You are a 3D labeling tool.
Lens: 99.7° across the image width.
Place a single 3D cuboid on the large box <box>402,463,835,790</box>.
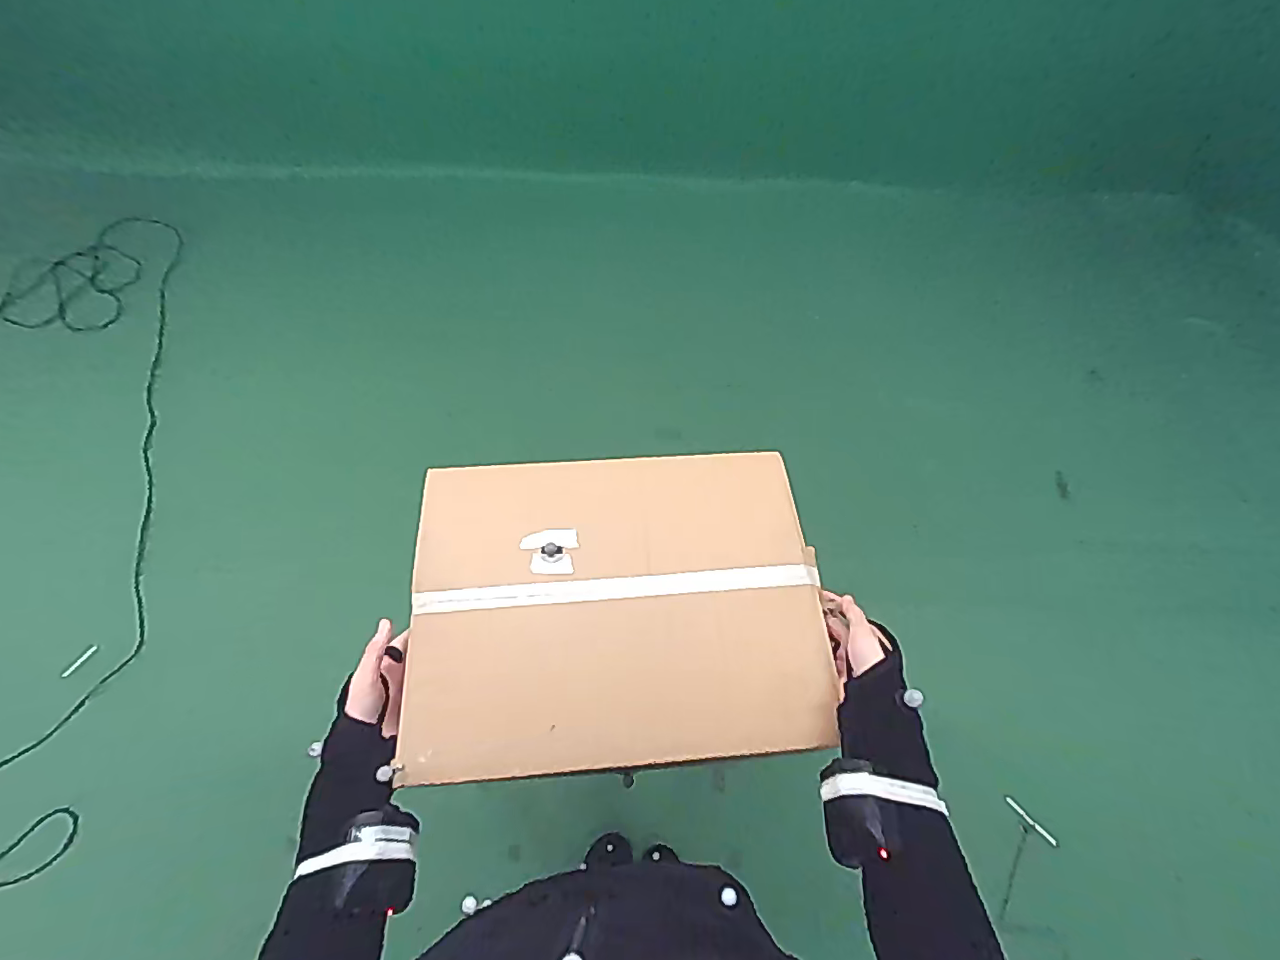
[{"bbox_3d":[-0.029,0.196,0.689,0.408,0.320,0.320,-3,61,-4],"label":"large box"}]
